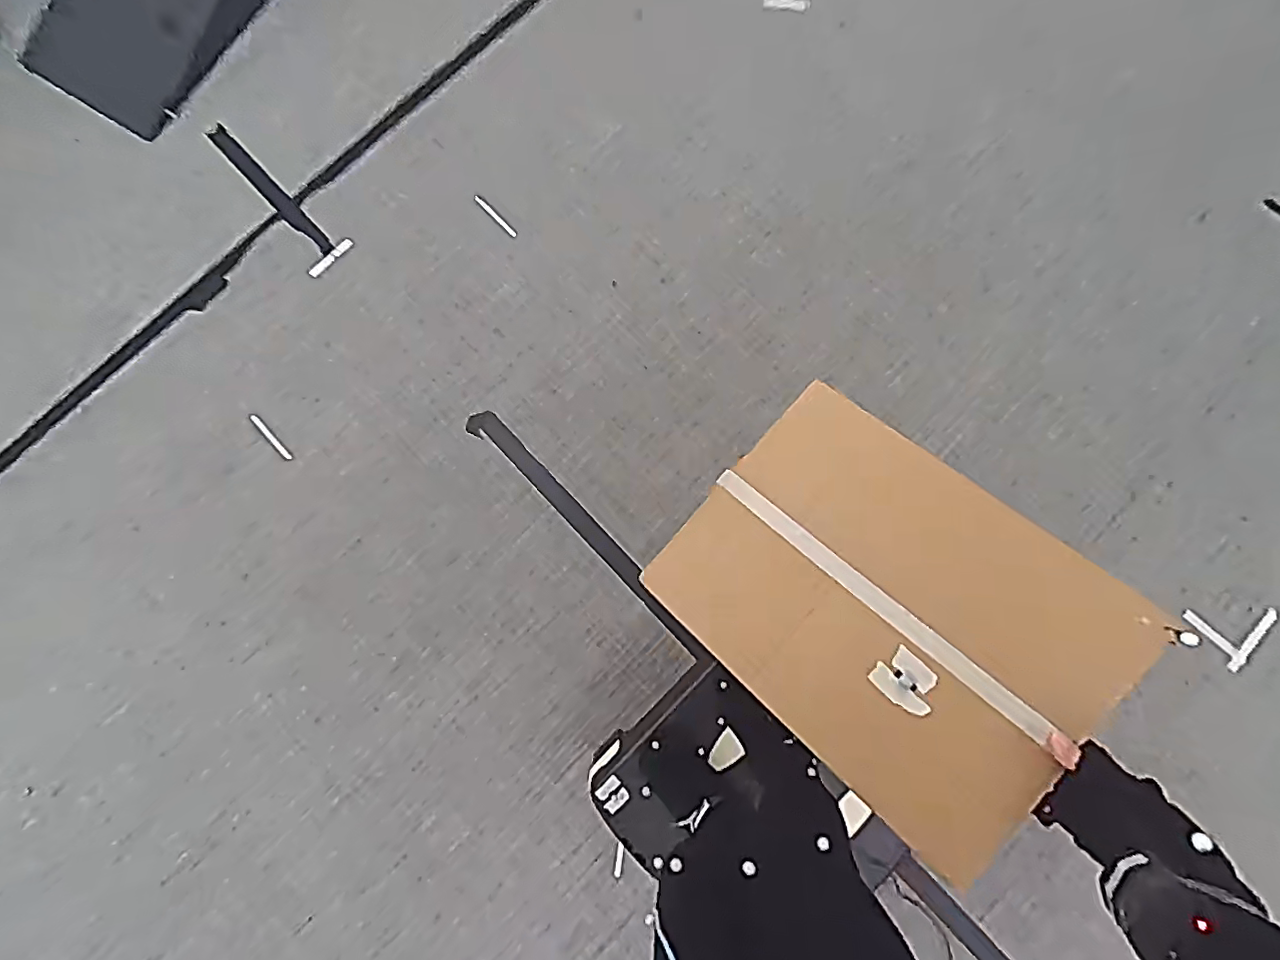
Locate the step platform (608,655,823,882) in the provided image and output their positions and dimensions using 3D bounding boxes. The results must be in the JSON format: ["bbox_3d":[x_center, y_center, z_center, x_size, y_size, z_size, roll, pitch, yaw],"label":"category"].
[{"bbox_3d":[0.249,0.463,1.144,0.286,0.204,0.684,44,84,8],"label":"step platform"}]

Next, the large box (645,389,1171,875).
[{"bbox_3d":[0.279,0.159,0.692,0.408,0.320,0.320,40,90,21],"label":"large box"}]
